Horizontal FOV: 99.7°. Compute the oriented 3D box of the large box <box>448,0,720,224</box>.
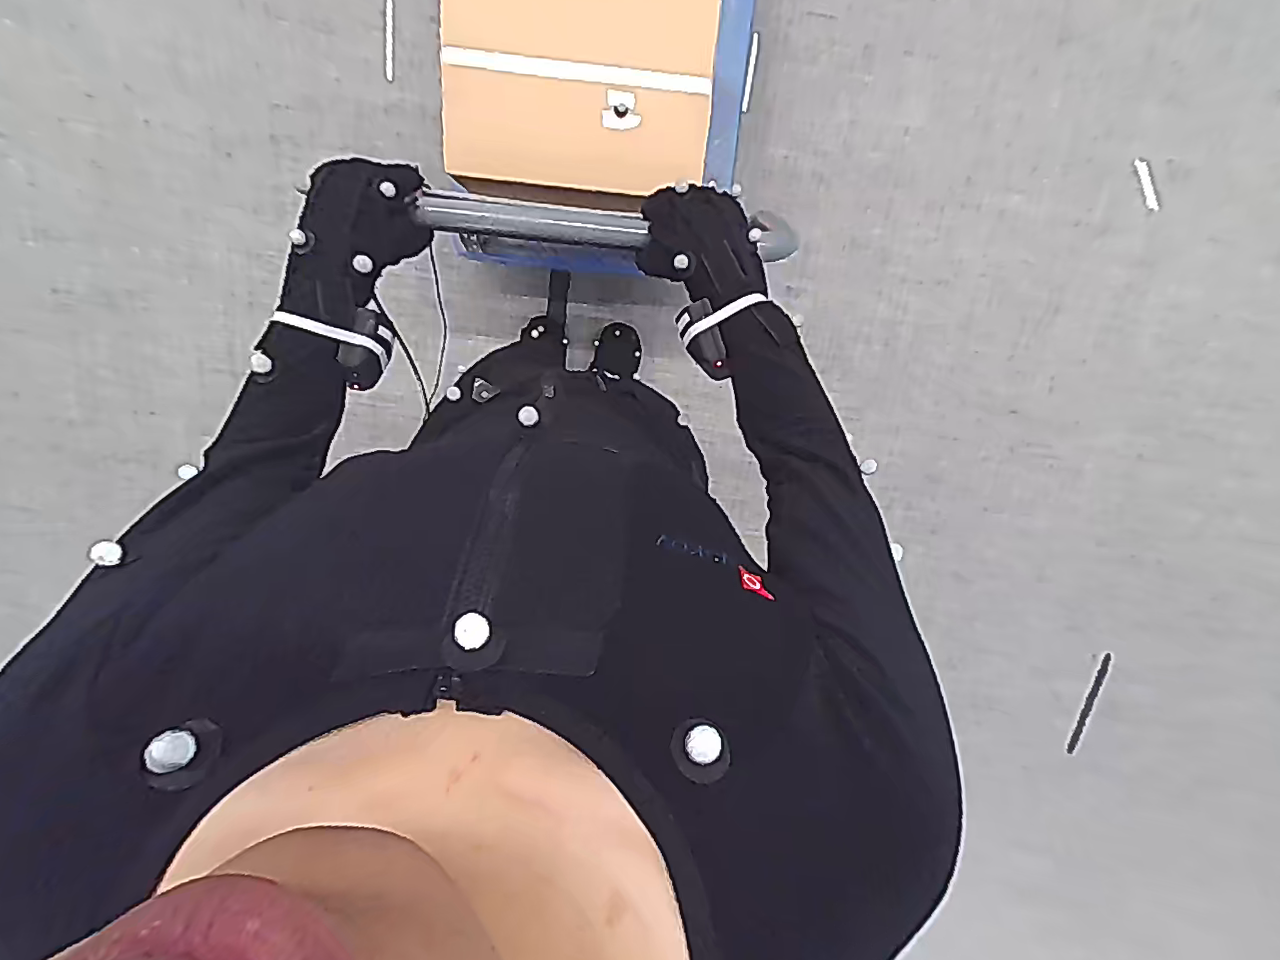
[{"bbox_3d":[-0.098,-0.664,0.964,0.408,0.320,0.320,4,107,-5],"label":"large box"}]
